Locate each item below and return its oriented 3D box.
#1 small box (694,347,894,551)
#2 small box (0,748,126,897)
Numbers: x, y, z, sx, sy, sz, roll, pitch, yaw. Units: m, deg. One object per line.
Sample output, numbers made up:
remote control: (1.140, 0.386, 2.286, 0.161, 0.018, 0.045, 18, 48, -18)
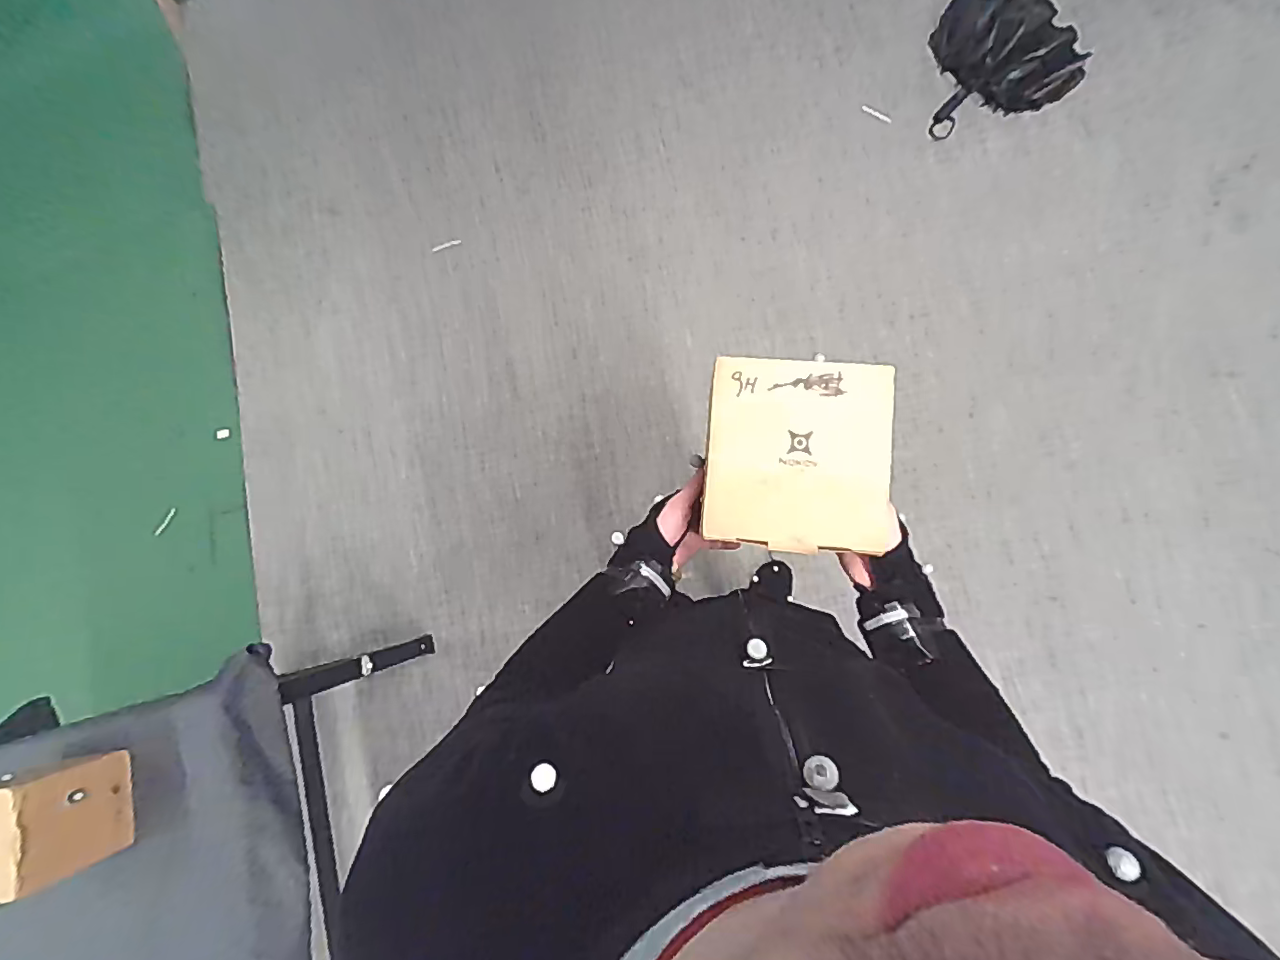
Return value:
small box: (0.146, -0.025, 0.568, 0.168, 0.176, 0.179, 5, 86, 4)
small box: (-1.027, 0.576, 0.919, 0.179, 0.176, 0.168, -13, 80, 10)
